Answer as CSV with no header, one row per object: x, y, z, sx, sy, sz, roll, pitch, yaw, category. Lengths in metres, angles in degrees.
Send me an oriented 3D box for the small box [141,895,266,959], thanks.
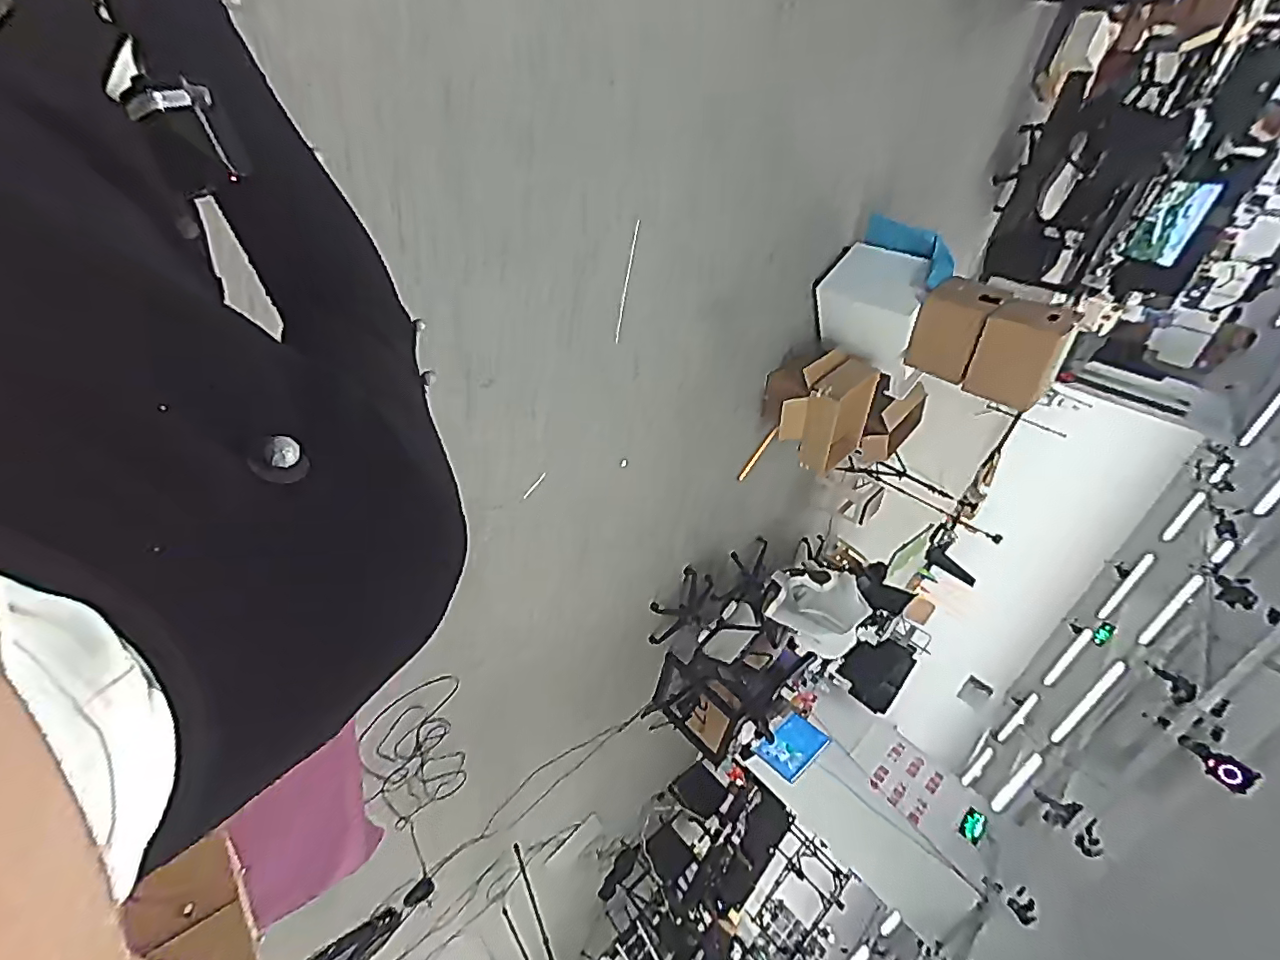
-0.794,0.925,0.985,0.179,0.176,0.168,-17,131,-42,small box

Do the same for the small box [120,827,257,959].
-0.907,0.859,1.087,0.179,0.176,0.168,-19,132,-41,small box
